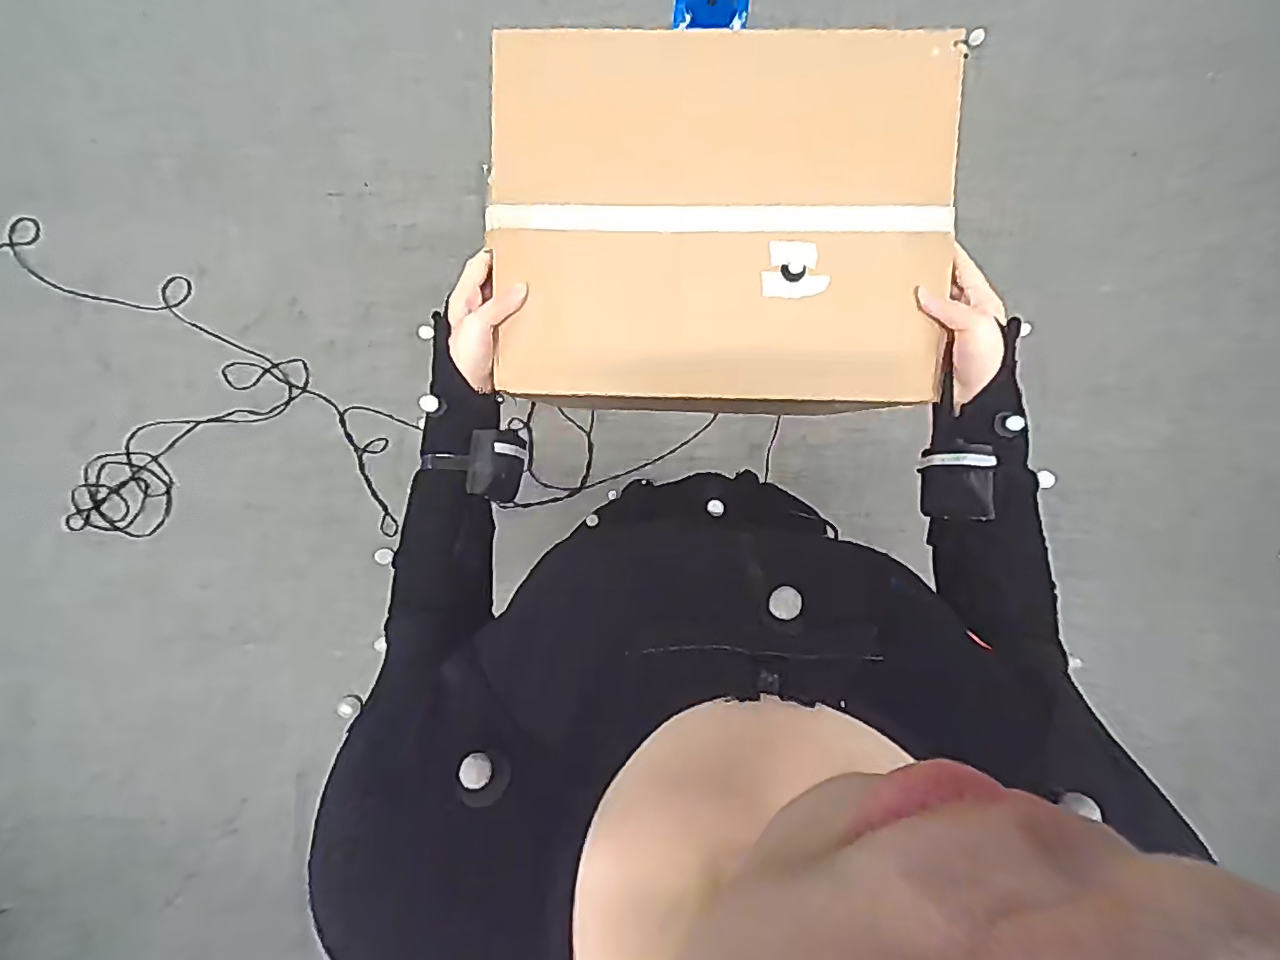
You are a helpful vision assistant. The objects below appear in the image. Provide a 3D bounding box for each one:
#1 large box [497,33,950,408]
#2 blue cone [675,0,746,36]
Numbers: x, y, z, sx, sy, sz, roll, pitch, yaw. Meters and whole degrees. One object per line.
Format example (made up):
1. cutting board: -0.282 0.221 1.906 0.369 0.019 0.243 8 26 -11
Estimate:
1. large box: 0.072 -0.249 0.632 0.408 0.320 0.320 1 96 1
2. blue cone: 0.191 -1.304 1.315 0.193 0.380 0.192 9 91 1
